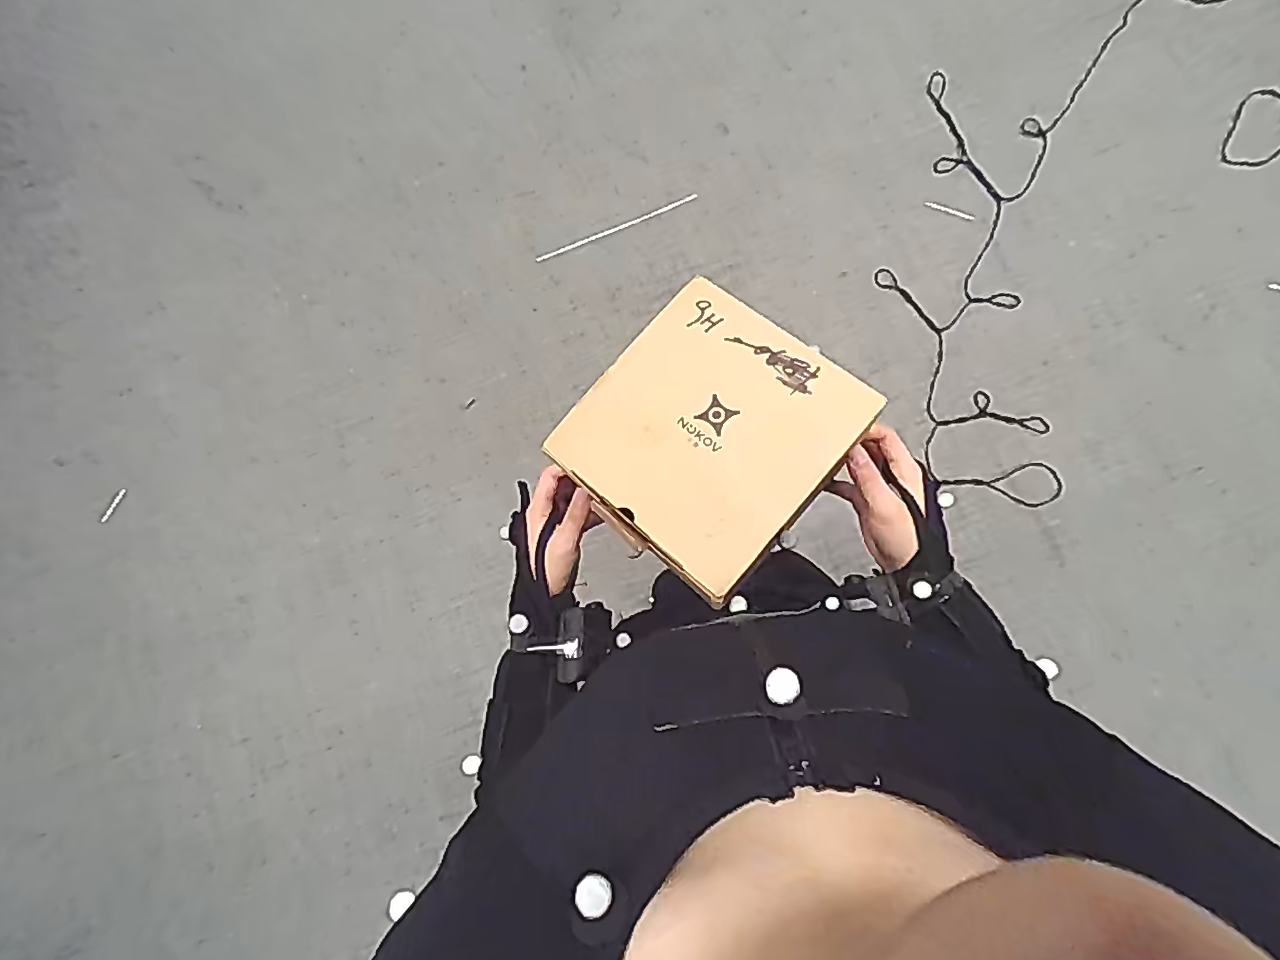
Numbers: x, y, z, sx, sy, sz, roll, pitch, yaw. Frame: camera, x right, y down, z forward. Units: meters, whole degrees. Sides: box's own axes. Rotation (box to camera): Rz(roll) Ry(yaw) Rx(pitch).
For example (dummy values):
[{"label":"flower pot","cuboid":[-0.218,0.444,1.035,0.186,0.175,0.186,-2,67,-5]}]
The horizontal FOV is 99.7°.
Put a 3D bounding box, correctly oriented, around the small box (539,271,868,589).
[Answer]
[{"label":"small box","cuboid":[0.054,-0.024,0.451,0.168,0.176,0.179,39,86,16]}]
